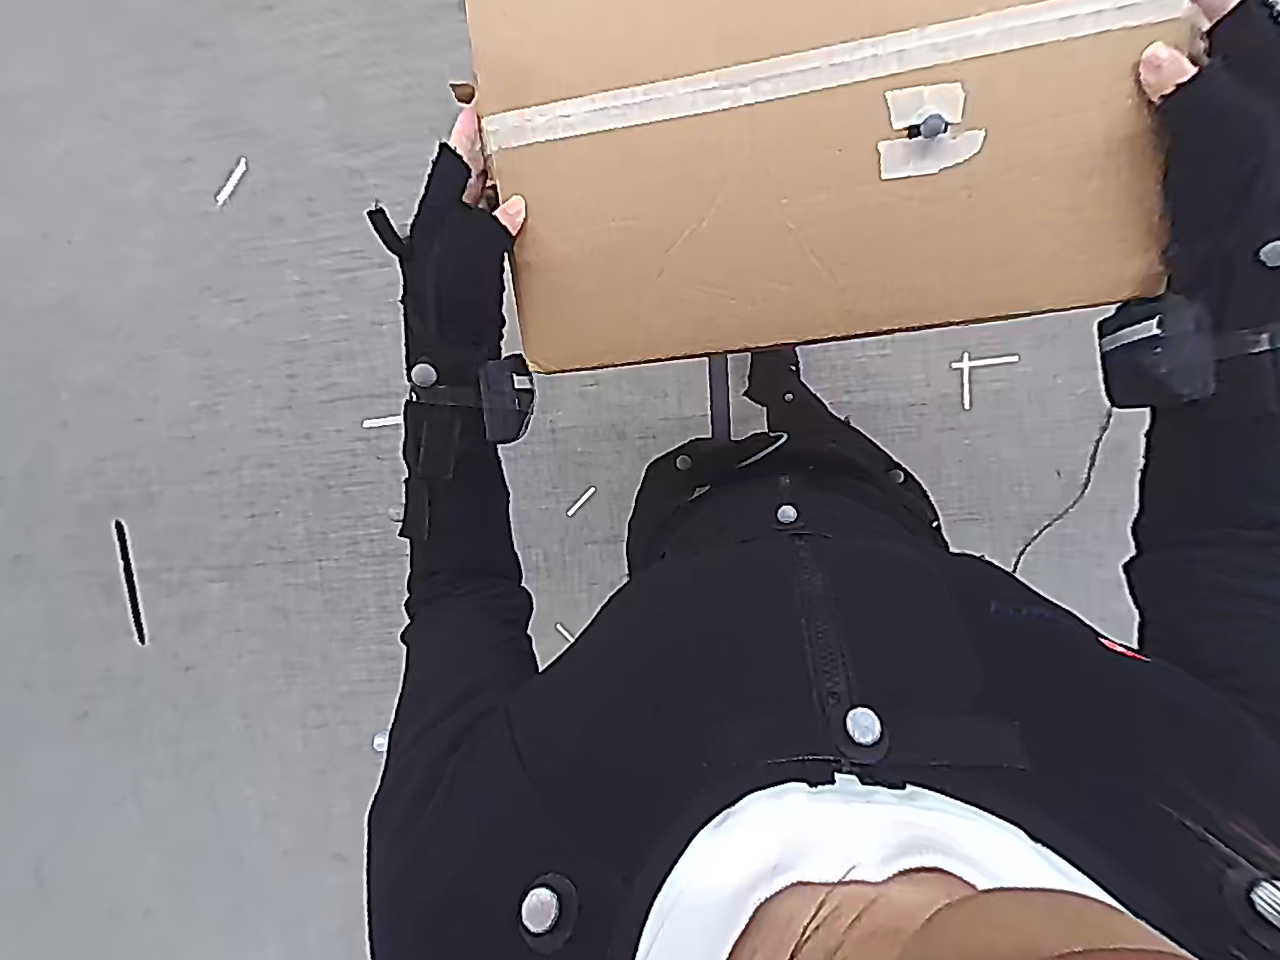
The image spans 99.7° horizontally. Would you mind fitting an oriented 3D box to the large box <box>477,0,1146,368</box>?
[{"bbox_3d":[0.114,-0.285,0.487,0.408,0.320,0.320,-6,102,7],"label":"large box"}]
